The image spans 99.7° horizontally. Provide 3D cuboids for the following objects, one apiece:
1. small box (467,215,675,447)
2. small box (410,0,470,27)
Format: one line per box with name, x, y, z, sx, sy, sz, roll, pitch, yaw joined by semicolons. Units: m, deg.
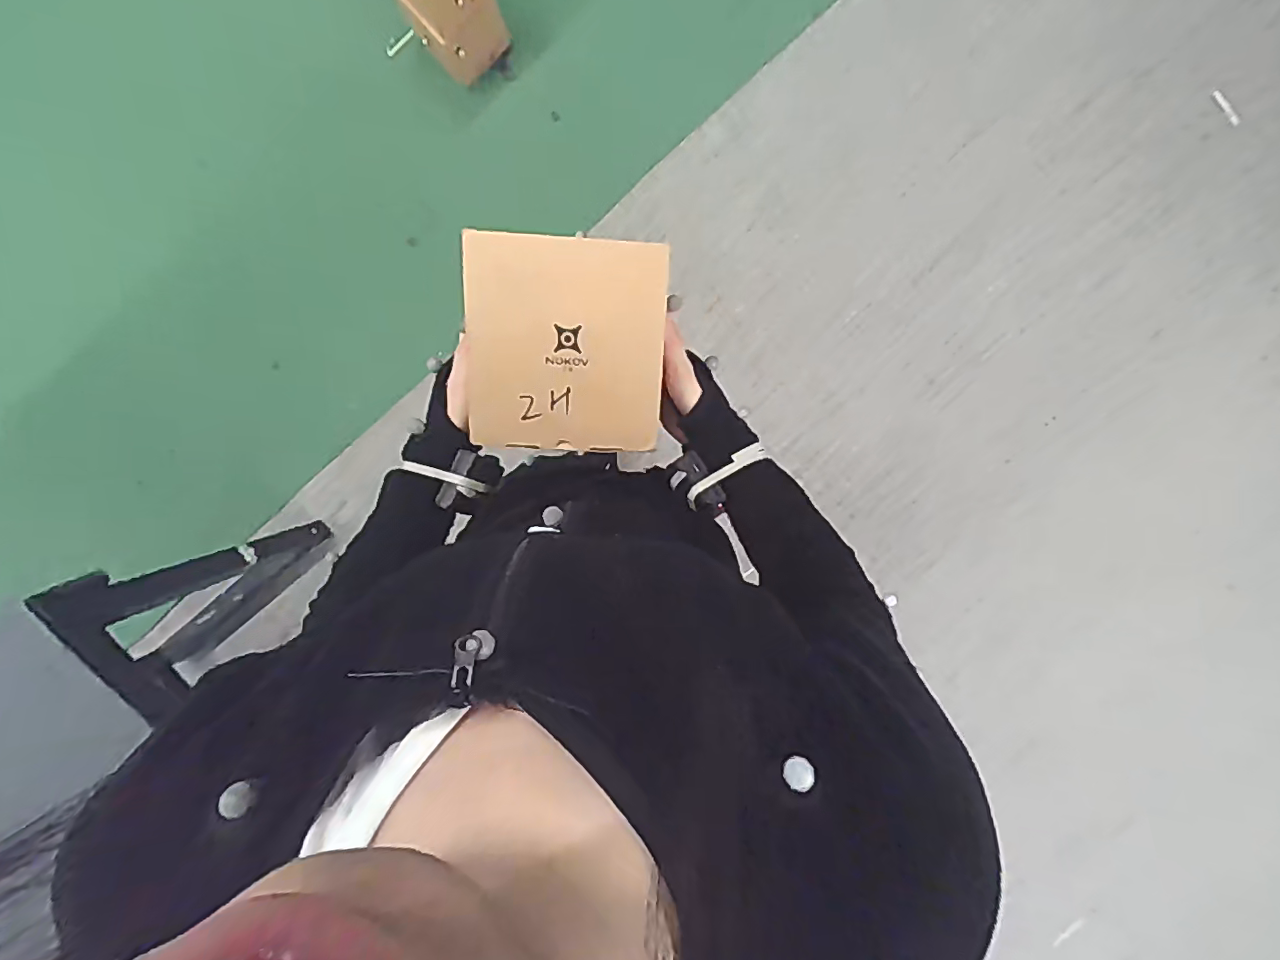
small box;-0.066;-0.140;0.522;0.168;0.176;0.179;3;107;-5
small box;-0.449;-1.112;1.119;0.179;0.176;0.168;45;93;-5
